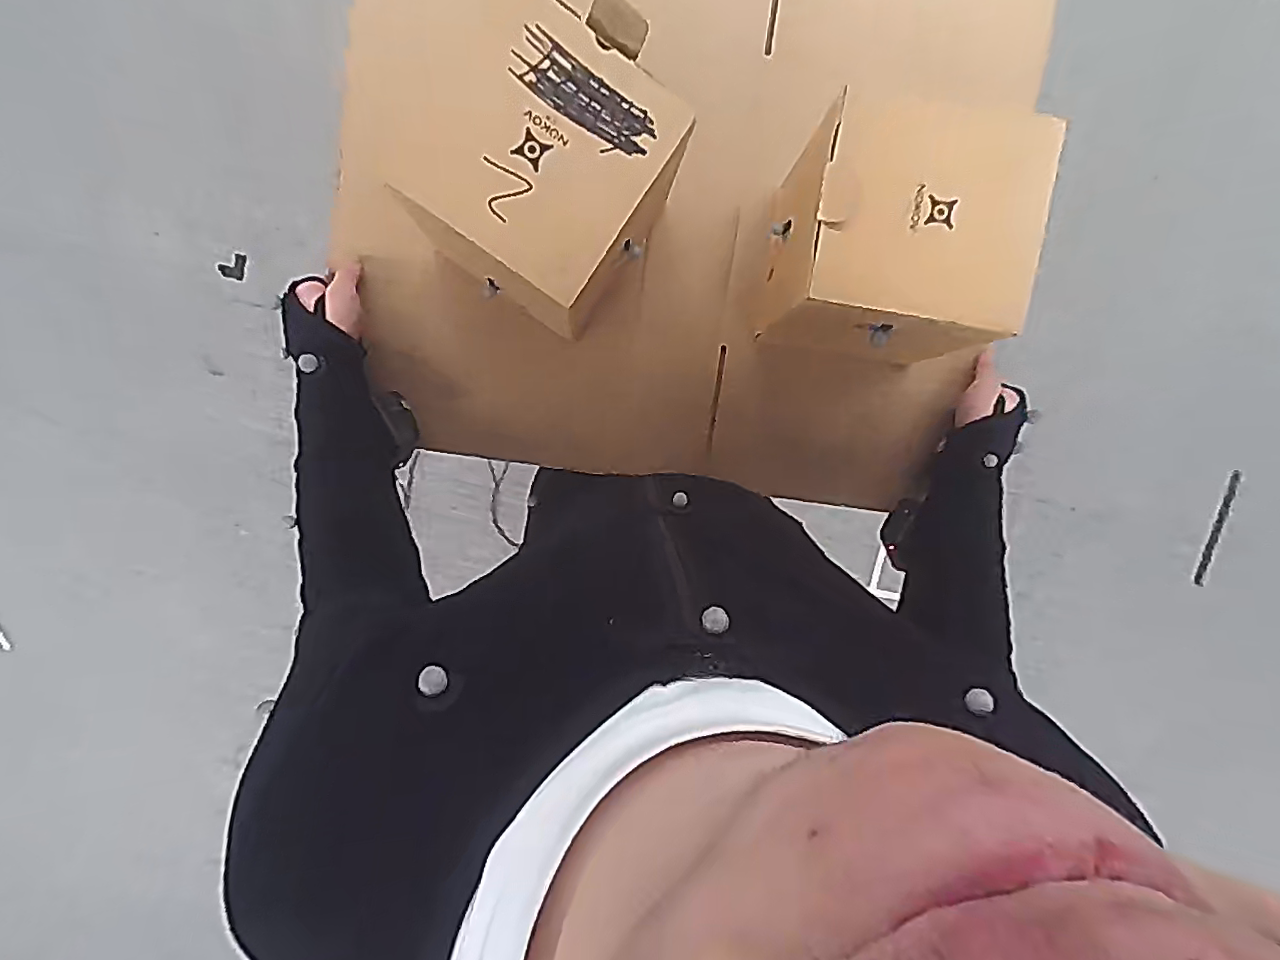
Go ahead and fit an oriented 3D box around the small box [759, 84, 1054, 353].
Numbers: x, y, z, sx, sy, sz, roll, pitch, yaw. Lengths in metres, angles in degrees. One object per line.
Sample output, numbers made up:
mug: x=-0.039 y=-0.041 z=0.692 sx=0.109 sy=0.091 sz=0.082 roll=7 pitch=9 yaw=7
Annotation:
small box: x=0.228 y=-0.222 z=0.510 sx=0.179 sy=0.176 sz=0.168 roll=9 pitch=94 yaw=-1
